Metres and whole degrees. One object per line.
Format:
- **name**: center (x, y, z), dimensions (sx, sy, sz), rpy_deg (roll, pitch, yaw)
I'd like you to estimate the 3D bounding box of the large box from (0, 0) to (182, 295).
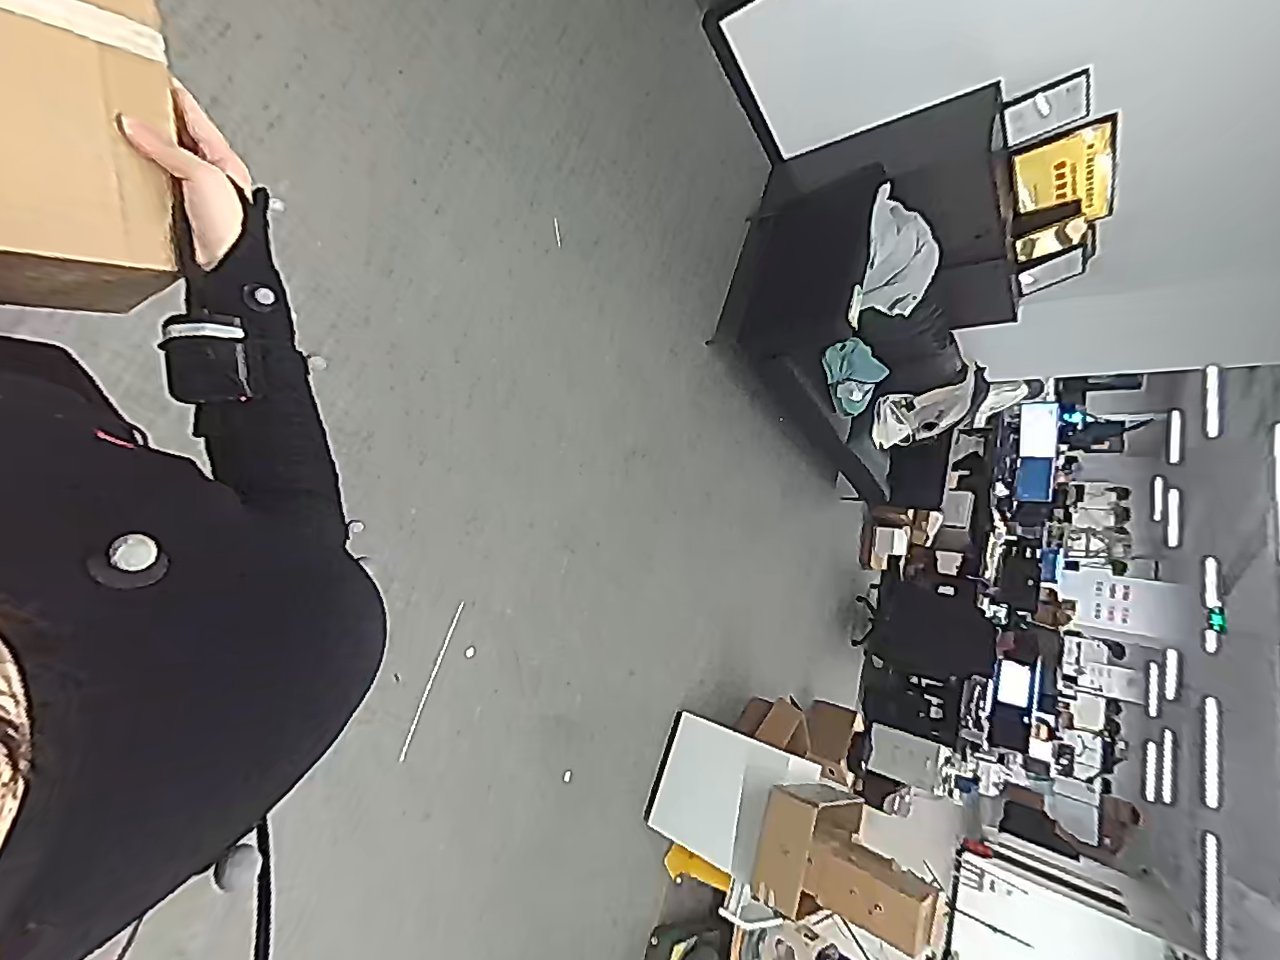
- **large box**: center (-0.602, -0.312, 0.337), dimensions (0.408, 0.320, 0.320), rpy_deg (-13, 106, -51)
